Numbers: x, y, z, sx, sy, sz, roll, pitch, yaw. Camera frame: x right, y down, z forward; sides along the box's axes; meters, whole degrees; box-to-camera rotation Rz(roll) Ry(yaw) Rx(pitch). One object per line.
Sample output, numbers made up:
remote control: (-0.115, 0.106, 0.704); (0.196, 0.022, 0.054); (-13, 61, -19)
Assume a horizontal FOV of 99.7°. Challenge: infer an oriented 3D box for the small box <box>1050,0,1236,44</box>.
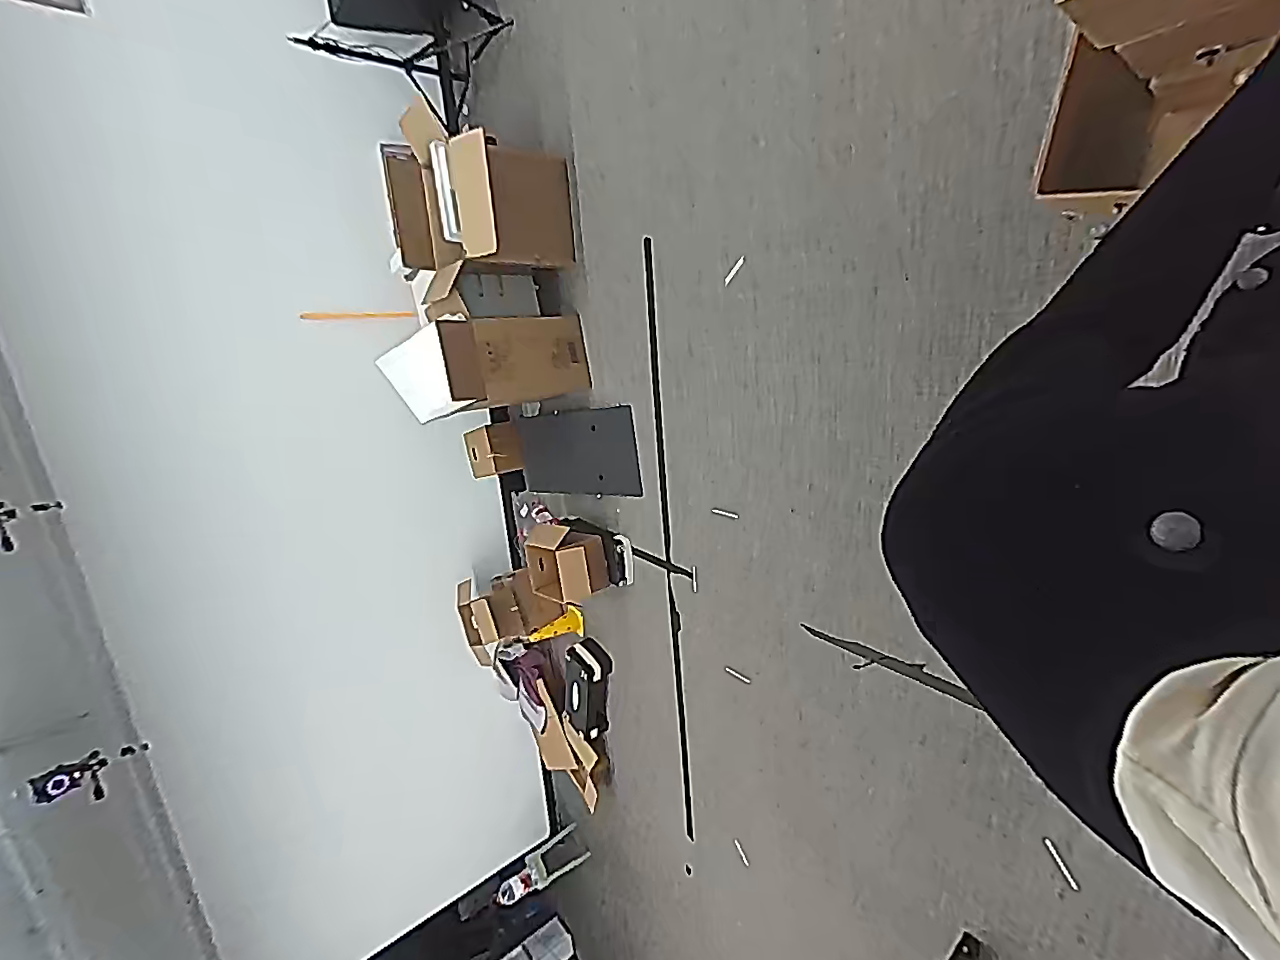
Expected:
small box: (0.538, -0.569, 0.523); (0.179, 0.176, 0.168); (14, 113, 49)
